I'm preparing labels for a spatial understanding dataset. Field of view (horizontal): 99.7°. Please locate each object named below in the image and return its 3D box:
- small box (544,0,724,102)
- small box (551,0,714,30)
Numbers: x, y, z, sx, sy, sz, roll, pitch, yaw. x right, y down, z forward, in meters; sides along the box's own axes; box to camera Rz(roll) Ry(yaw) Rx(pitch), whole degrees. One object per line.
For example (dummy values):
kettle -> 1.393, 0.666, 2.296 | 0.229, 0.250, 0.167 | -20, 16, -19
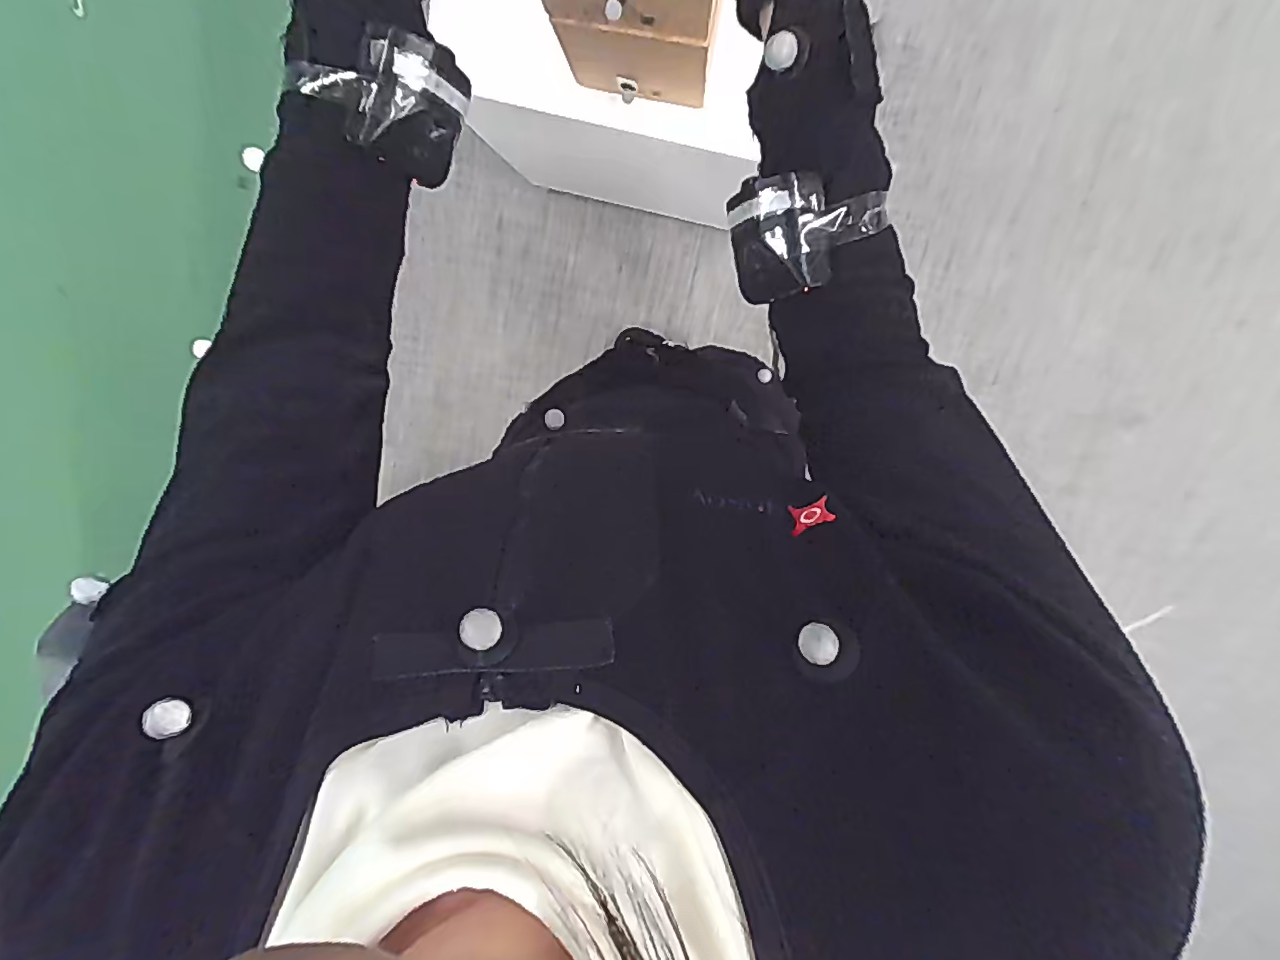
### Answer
small box -> 0.007, -0.545, 0.579 | 0.168, 0.176, 0.179 | 11, 108, 3
small box -> -0.009, -0.505, 0.420 | 0.168, 0.176, 0.179 | 8, 105, 3
